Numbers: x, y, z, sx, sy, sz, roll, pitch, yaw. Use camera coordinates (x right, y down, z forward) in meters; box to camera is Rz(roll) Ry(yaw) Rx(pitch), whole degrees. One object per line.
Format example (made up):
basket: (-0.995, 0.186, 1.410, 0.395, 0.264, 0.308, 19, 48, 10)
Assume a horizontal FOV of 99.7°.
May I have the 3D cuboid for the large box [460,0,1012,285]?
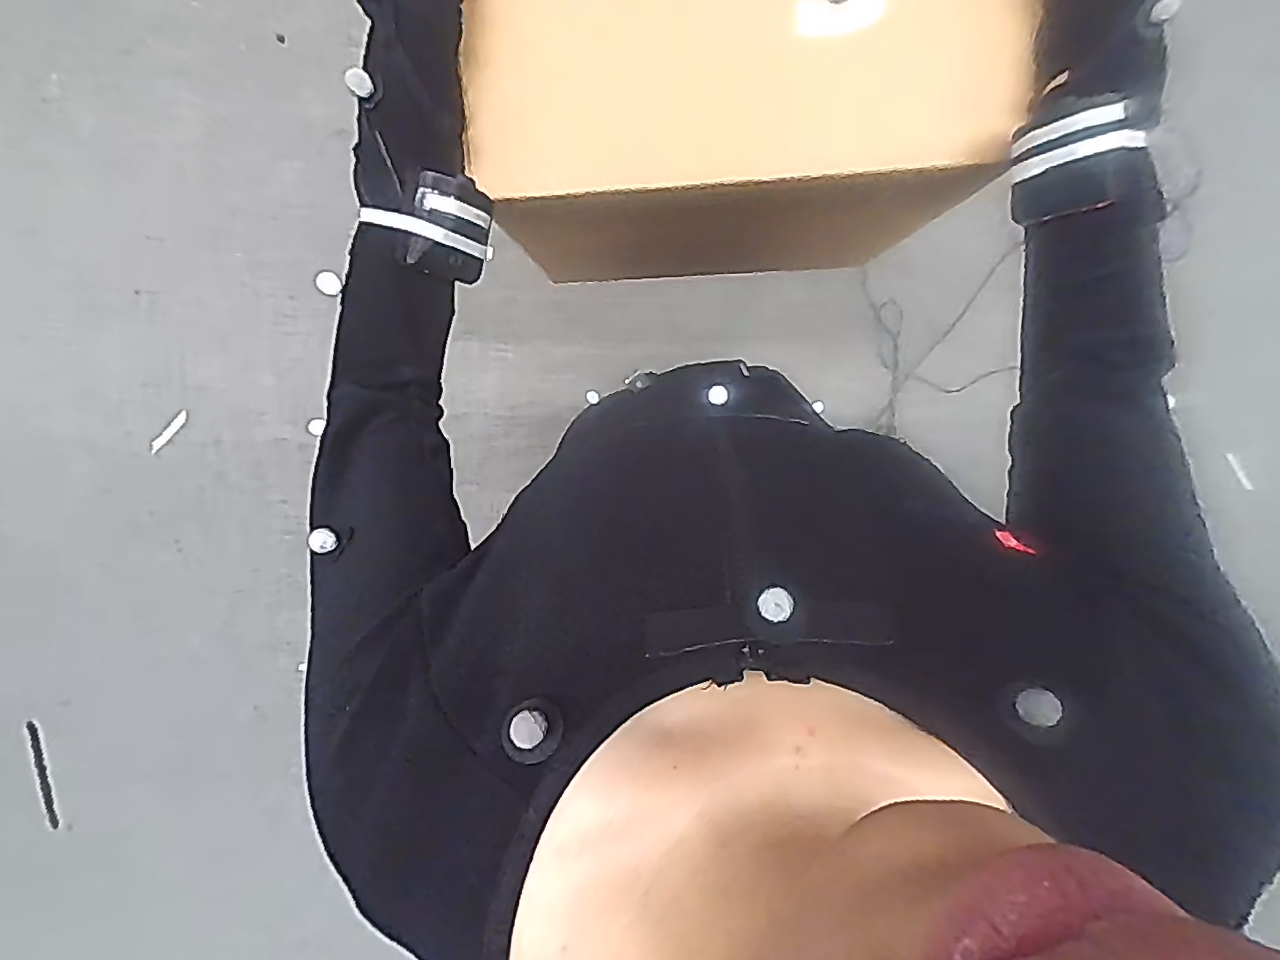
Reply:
large box: (0.067, -0.398, 0.533, 0.408, 0.320, 0.320, -3, 98, 2)
